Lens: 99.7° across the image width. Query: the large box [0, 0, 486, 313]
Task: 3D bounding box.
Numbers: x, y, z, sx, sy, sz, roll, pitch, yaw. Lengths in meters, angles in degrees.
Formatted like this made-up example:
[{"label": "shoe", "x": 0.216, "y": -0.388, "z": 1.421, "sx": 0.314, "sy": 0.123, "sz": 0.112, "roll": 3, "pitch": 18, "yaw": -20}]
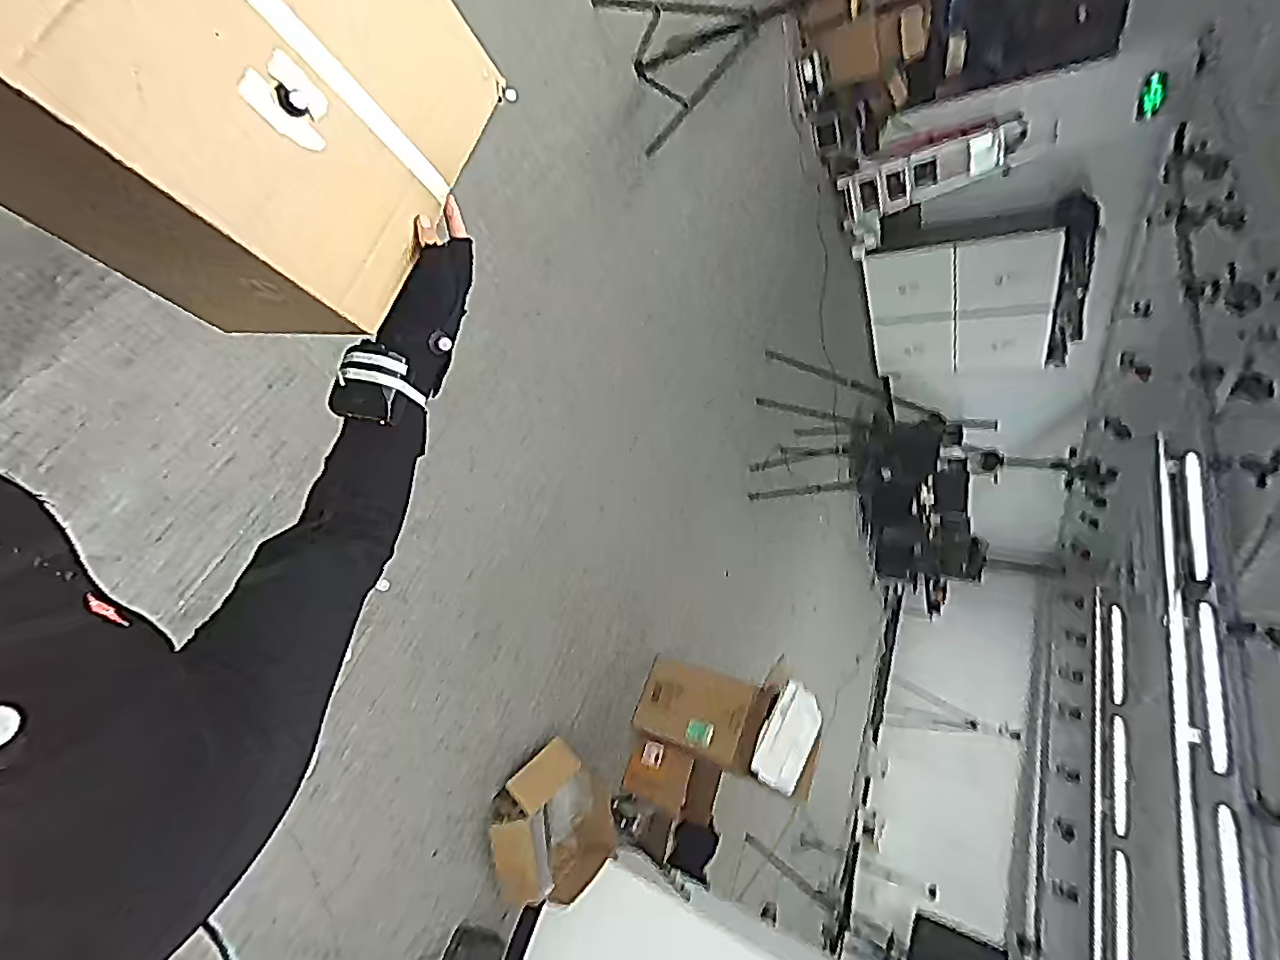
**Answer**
[{"label": "large box", "x": -0.418, "y": -0.382, "z": 0.443, "sx": 0.408, "sy": 0.320, "sz": 0.320, "roll": 38, "pitch": 67, "yaw": -56}]
